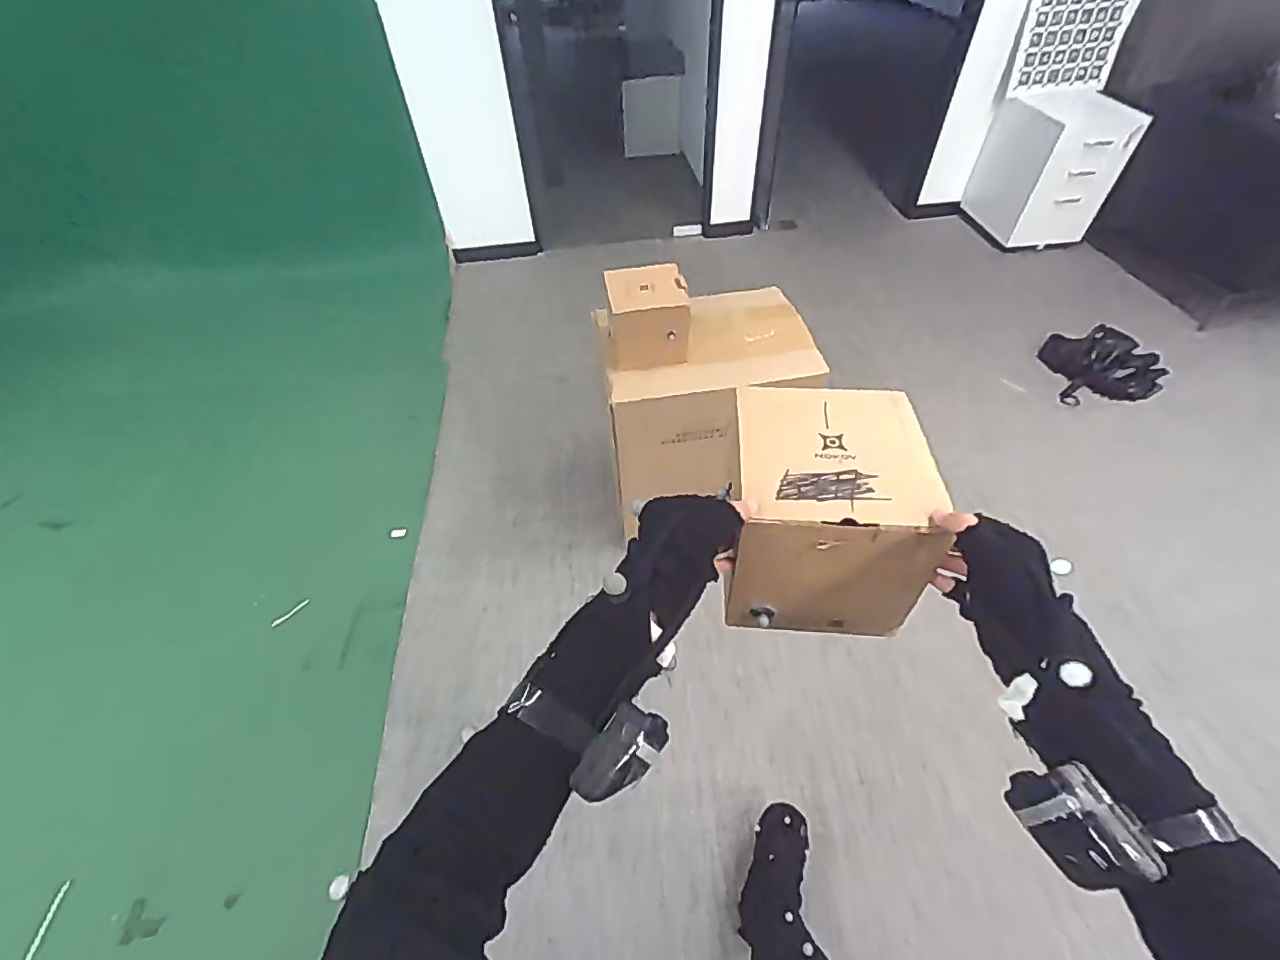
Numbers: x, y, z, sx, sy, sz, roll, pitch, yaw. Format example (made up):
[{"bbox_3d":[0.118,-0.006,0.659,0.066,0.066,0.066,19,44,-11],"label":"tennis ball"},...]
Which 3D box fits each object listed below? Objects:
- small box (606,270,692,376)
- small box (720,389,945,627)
[{"bbox_3d":[0.021,-0.373,1.295,0.179,0.176,0.168,-10,53,-3],"label":"small box"},{"bbox_3d":[0.170,0.029,0.540,0.168,0.176,0.179,2,45,6],"label":"small box"}]
